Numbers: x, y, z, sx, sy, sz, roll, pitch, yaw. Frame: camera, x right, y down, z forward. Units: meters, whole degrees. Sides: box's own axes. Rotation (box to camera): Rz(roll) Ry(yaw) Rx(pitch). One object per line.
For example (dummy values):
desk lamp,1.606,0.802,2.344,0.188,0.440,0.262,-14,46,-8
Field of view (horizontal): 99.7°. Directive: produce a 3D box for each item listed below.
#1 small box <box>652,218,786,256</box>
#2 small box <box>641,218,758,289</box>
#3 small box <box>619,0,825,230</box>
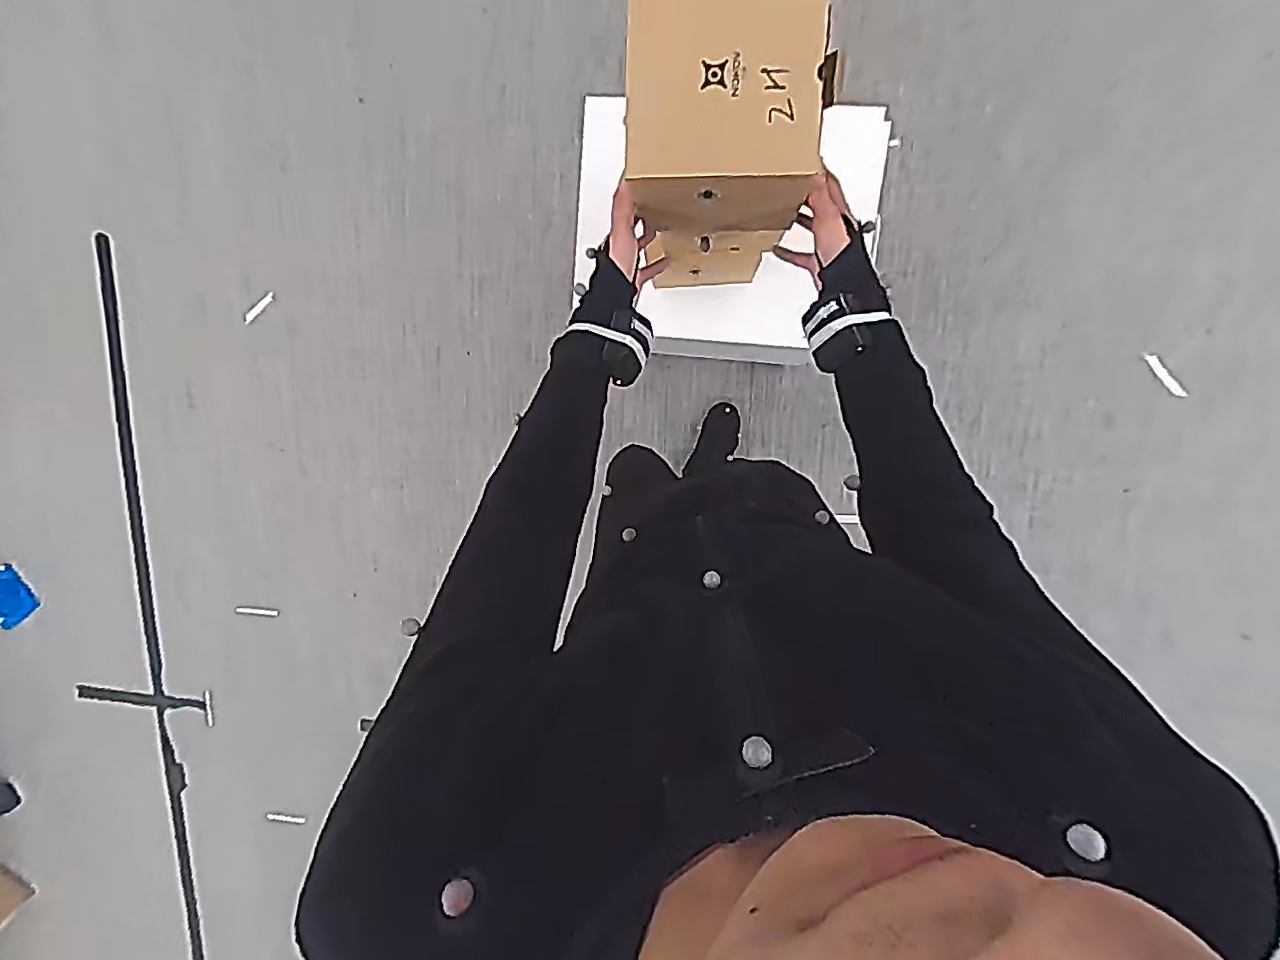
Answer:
small box,0.103,-0.404,0.714,0.168,0.176,0.179,0,98,7
small box,0.095,-0.414,0.879,0.179,0.176,0.168,-2,99,6
small box,0.079,-0.366,0.555,0.179,0.176,0.168,3,100,6
